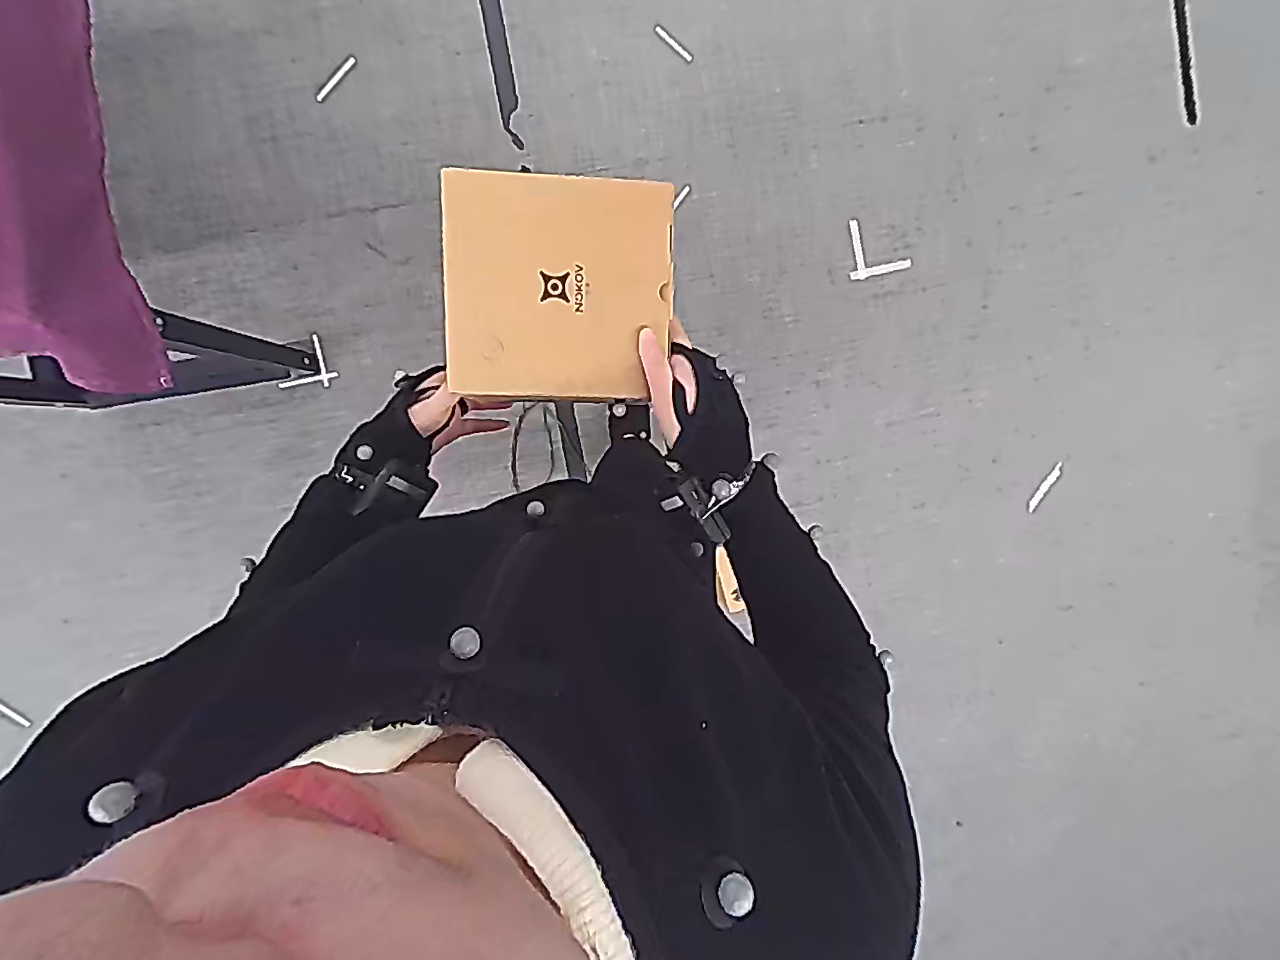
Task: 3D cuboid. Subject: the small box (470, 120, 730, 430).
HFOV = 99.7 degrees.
[{"bbox_3d":[-0.043,-0.151,0.455,0.168,0.176,0.179,-3,79,-25],"label":"small box"}]
